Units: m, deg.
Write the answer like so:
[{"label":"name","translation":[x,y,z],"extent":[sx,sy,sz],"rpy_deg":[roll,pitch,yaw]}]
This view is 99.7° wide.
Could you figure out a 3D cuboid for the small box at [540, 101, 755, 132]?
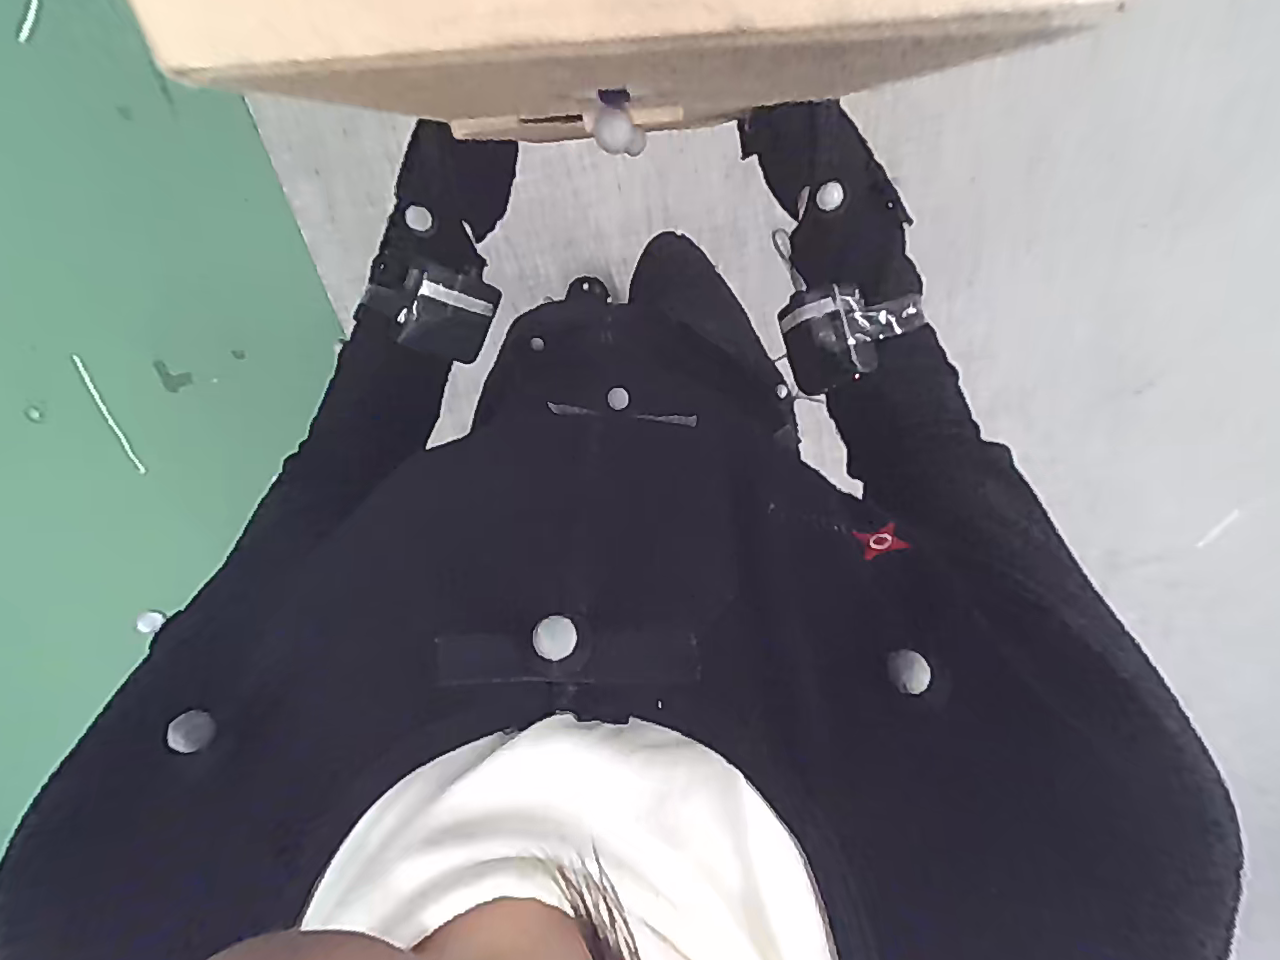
[{"label":"small box","translation":[-0.009,-0.365,0.402],"extent":[0.179,0.176,0.168],"rpy_deg":[-5,122,1]}]

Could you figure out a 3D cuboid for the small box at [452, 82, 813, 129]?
[{"label":"small box","translation":[-0.009,-0.282,0.261],"extent":[0.168,0.176,0.179],"rpy_deg":[-5,122,2]}]

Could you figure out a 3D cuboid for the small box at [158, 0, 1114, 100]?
[{"label":"small box","translation":[-0.001,-0.193,0.121],"extent":[0.179,0.176,0.168],"rpy_deg":[-2,121,1]}]
